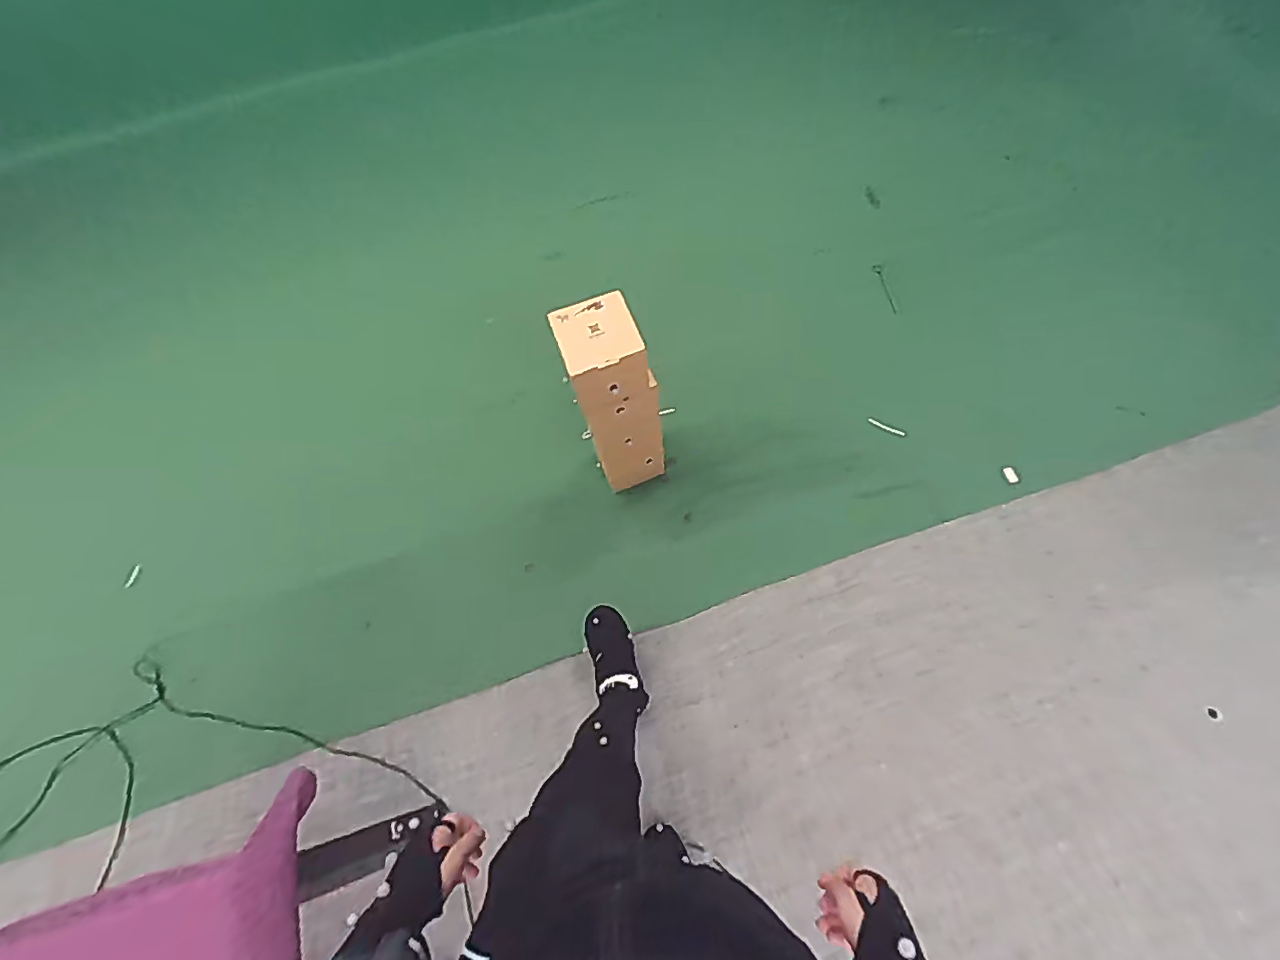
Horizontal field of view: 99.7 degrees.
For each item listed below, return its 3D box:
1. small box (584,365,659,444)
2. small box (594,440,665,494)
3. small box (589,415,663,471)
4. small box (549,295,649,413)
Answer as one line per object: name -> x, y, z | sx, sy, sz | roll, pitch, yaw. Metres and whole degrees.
small box -> -0.061, -0.214, 1.352 | 0.179, 0.176, 0.168 | -23, 66, -6
small box -> -0.033, -0.083, 1.648 | 0.179, 0.176, 0.168 | -22, 65, -6
small box -> -0.044, -0.150, 1.501 | 0.179, 0.176, 0.168 | -21, 66, -5
small box -> -0.084, -0.268, 1.197 | 0.168, 0.176, 0.179 | -20, 66, -4
